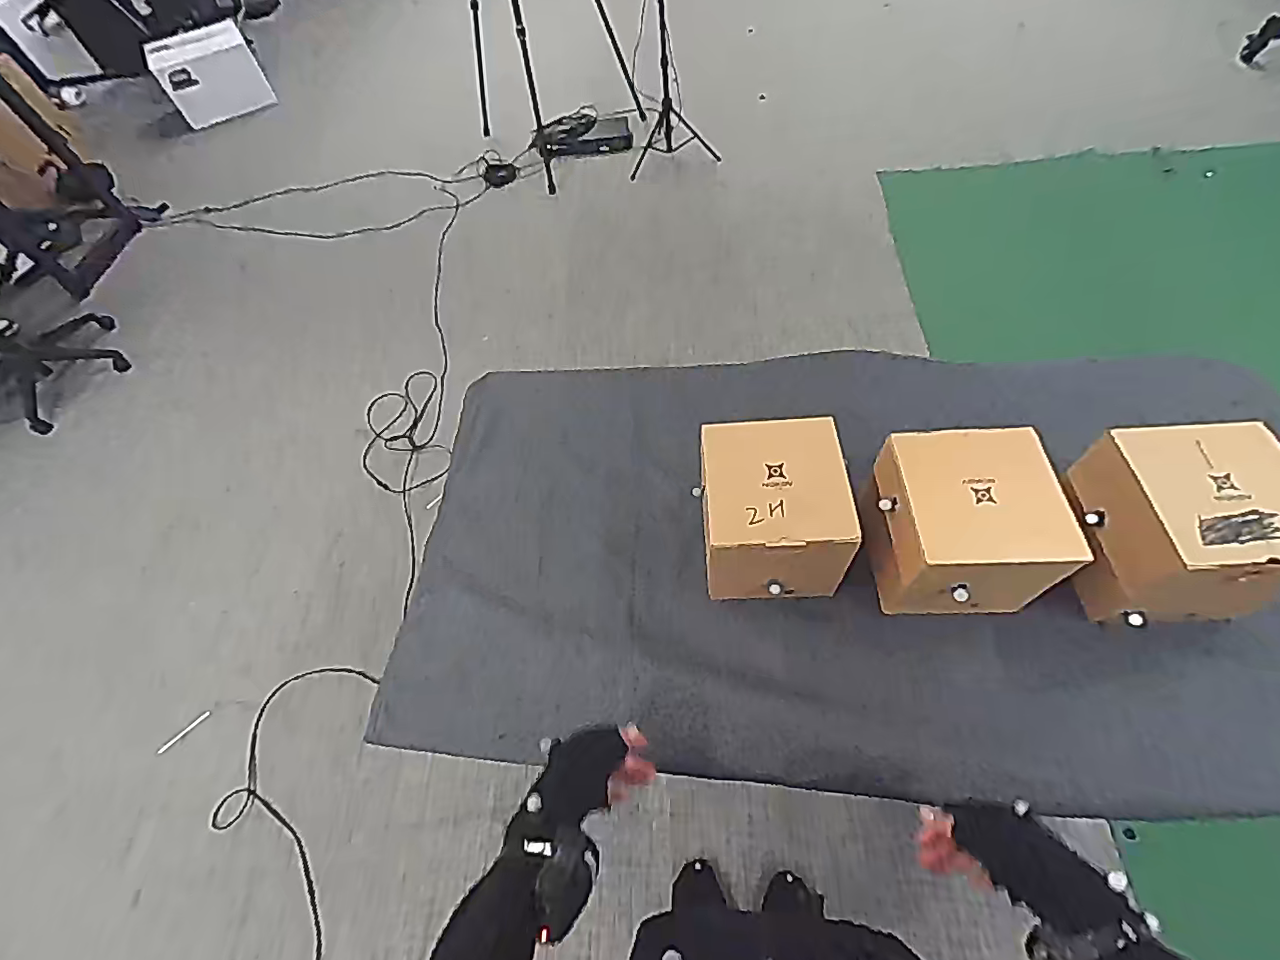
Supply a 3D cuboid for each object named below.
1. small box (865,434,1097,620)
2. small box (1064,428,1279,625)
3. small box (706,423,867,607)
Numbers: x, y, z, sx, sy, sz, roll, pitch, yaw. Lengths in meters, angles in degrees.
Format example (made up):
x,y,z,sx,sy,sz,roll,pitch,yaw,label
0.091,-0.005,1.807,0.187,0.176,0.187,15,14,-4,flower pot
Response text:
x,y,z,sx,sy,sz,roll,pitch,yaw,label
0.391,0.066,0.662,0.168,0.176,0.179,-3,56,6,small box
0.629,0.062,0.629,0.168,0.176,0.179,-3,56,6,small box
0.172,0.049,0.698,0.168,0.176,0.179,-4,56,5,small box
